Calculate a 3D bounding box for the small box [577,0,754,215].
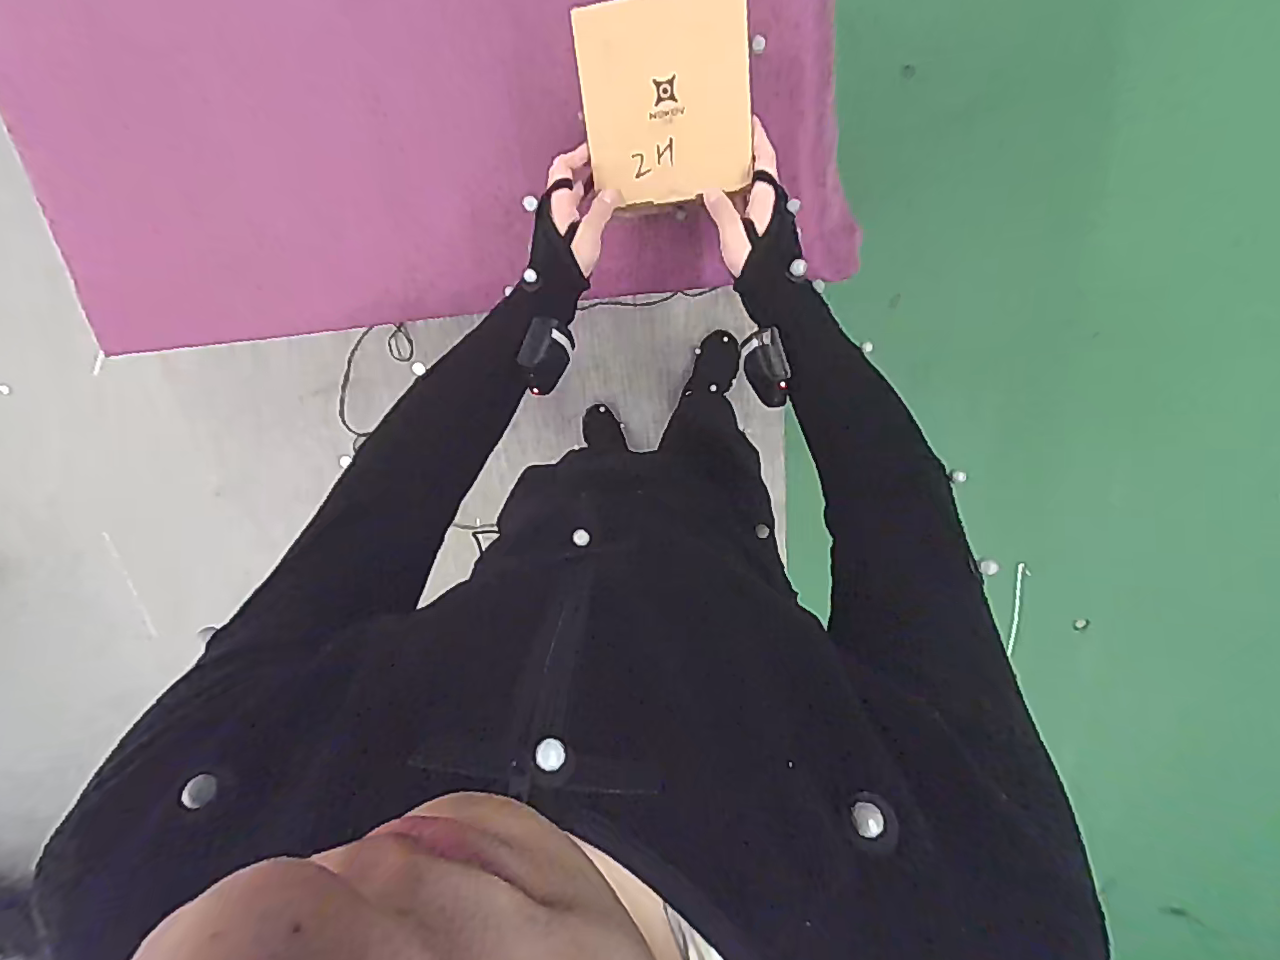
[{"bbox_3d":[0.038,-0.404,0.602,0.168,0.176,0.179,-3,114,11],"label":"small box"}]
